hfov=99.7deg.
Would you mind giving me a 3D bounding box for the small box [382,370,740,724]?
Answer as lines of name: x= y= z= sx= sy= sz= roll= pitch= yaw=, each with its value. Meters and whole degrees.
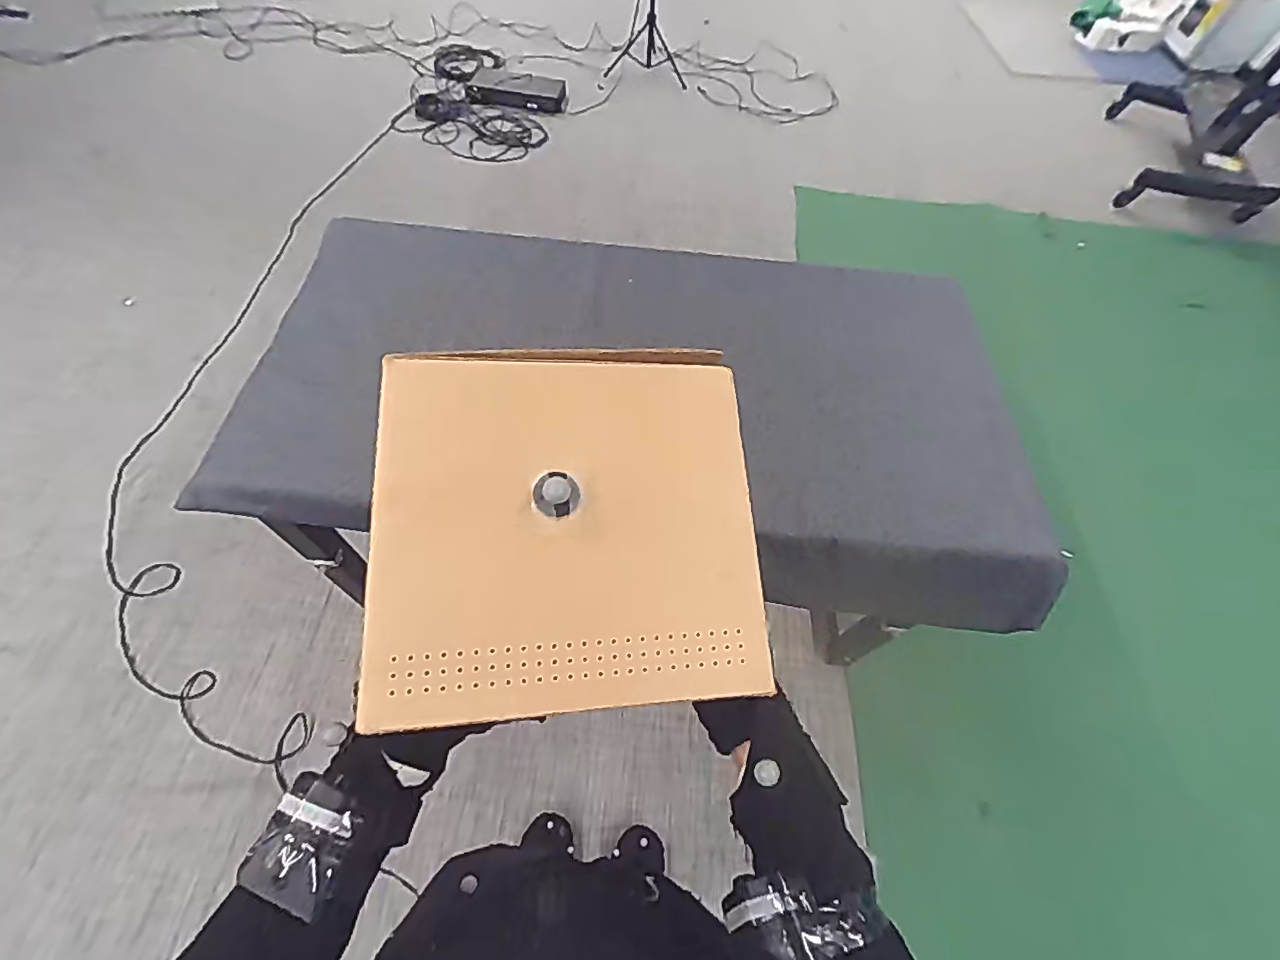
small box: x=-0.045 y=0.046 z=0.340 sx=0.179 sy=0.168 sz=0.176 roll=-2 pitch=72 yaw=-10
